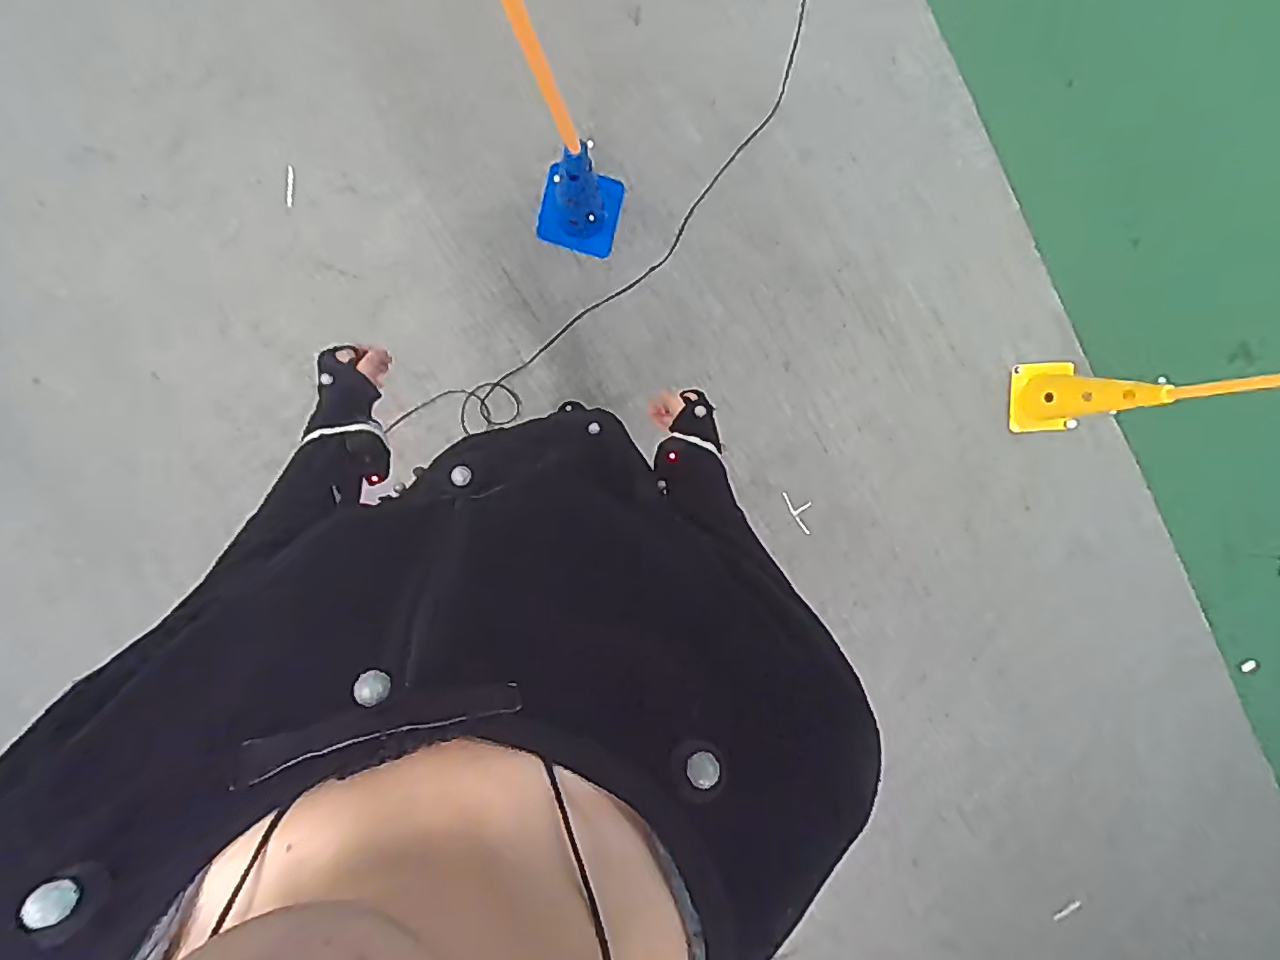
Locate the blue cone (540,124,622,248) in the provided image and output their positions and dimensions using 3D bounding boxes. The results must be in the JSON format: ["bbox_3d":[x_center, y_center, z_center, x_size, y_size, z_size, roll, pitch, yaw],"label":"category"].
[{"bbox_3d":[-0.140,-0.676,1.215,0.193,0.380,0.192,12,97,-6],"label":"blue cone"}]
